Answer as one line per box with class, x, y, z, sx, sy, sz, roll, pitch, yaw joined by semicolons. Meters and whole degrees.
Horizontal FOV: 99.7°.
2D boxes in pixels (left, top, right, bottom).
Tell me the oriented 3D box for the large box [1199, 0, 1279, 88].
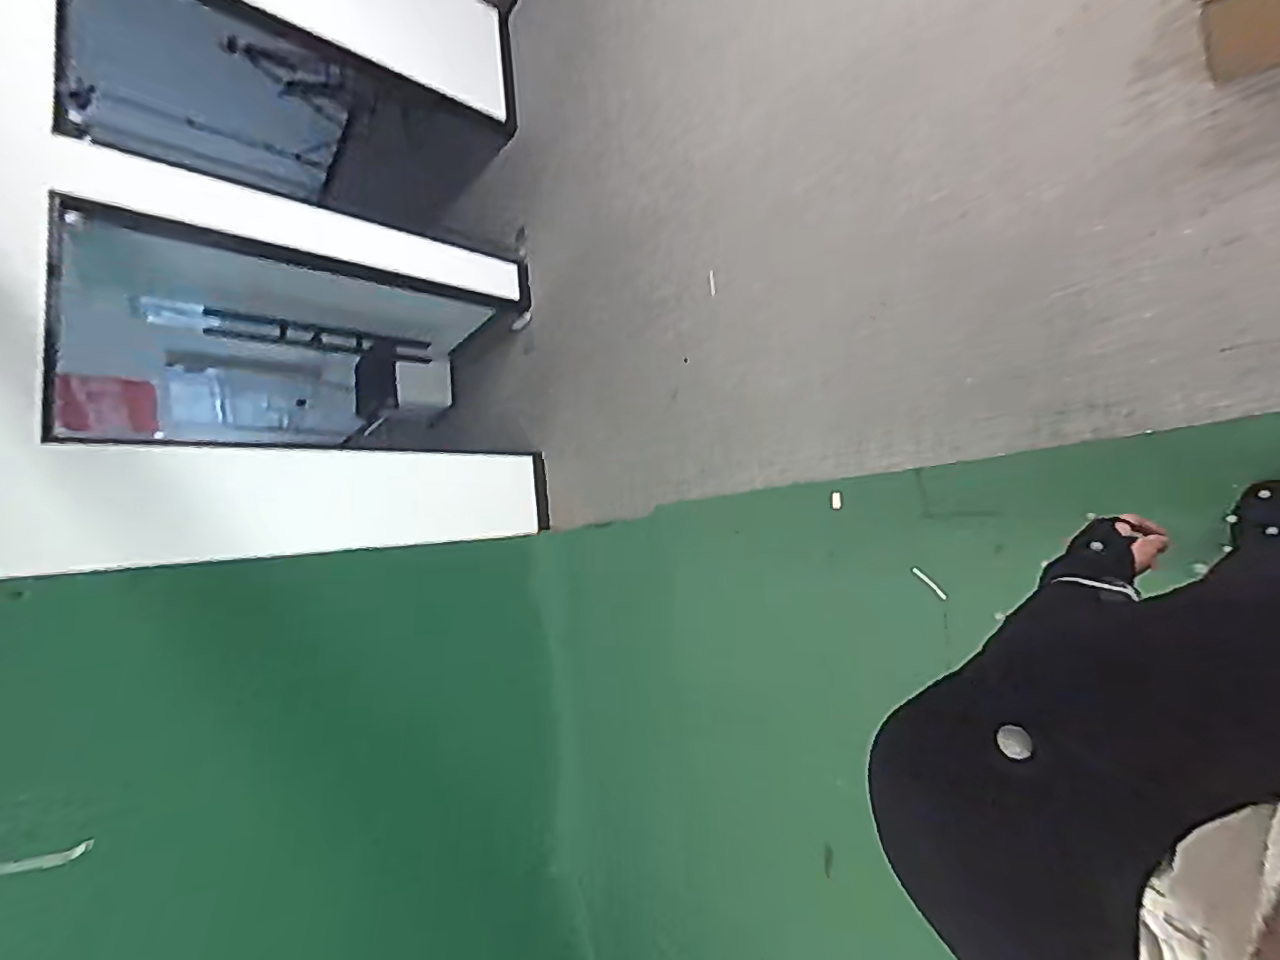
large box;1.272;-0.956;0.905;0.408;0.320;0.320;16;101;49
